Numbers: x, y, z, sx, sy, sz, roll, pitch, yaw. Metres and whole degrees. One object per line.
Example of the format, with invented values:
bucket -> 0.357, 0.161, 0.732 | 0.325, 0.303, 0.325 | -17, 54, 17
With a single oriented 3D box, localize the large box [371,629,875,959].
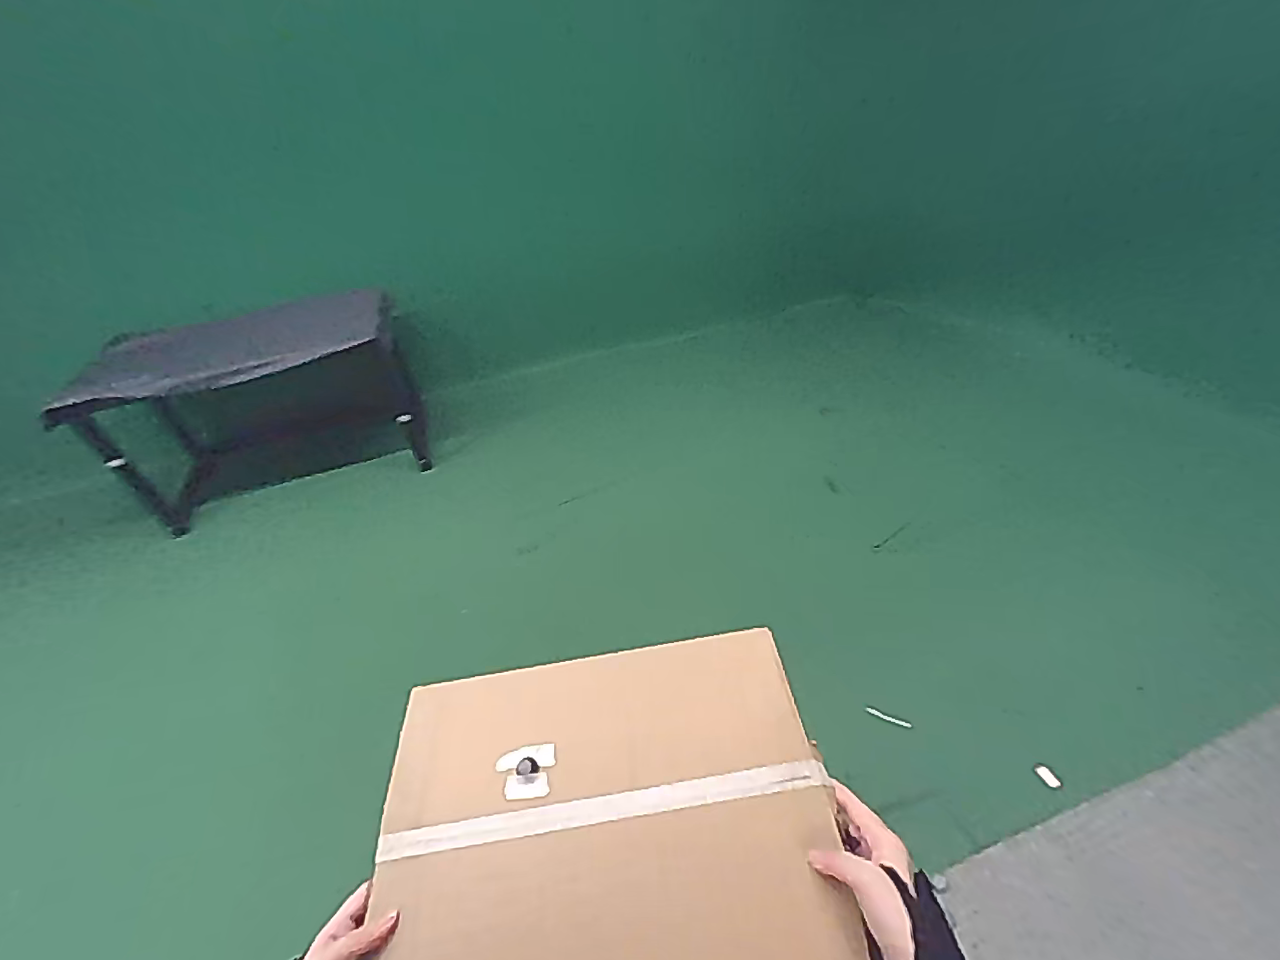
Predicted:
large box -> -0.012, 0.413, 0.600 | 0.408, 0.320, 0.320 | -11, 42, 2
